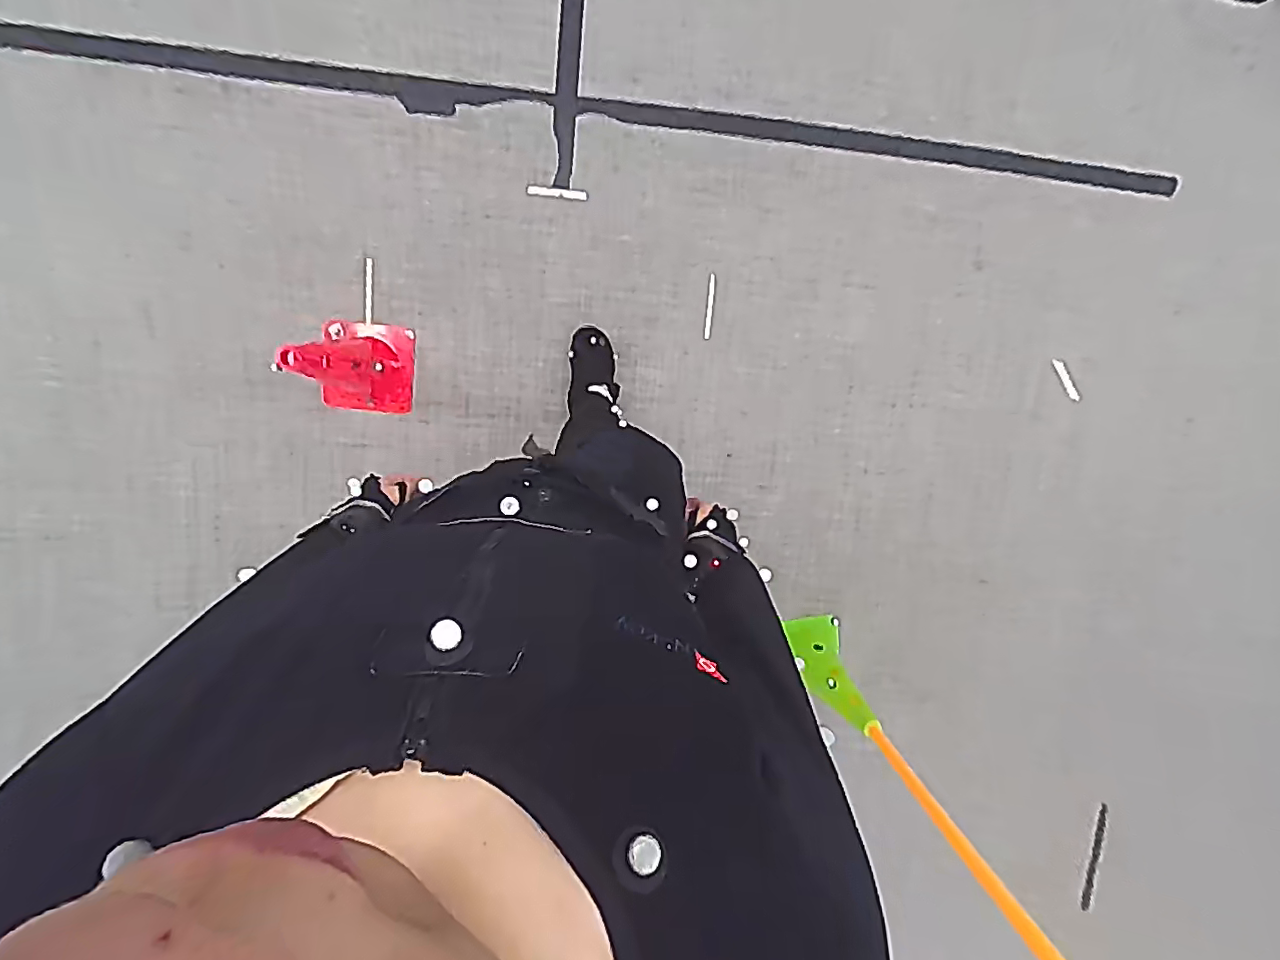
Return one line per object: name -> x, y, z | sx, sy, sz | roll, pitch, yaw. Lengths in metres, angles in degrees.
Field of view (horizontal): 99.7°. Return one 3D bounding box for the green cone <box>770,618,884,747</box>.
green cone -> 0.476, 0.514, 1.321 | 0.200, 0.368, 0.202 | -7, 101, -5
